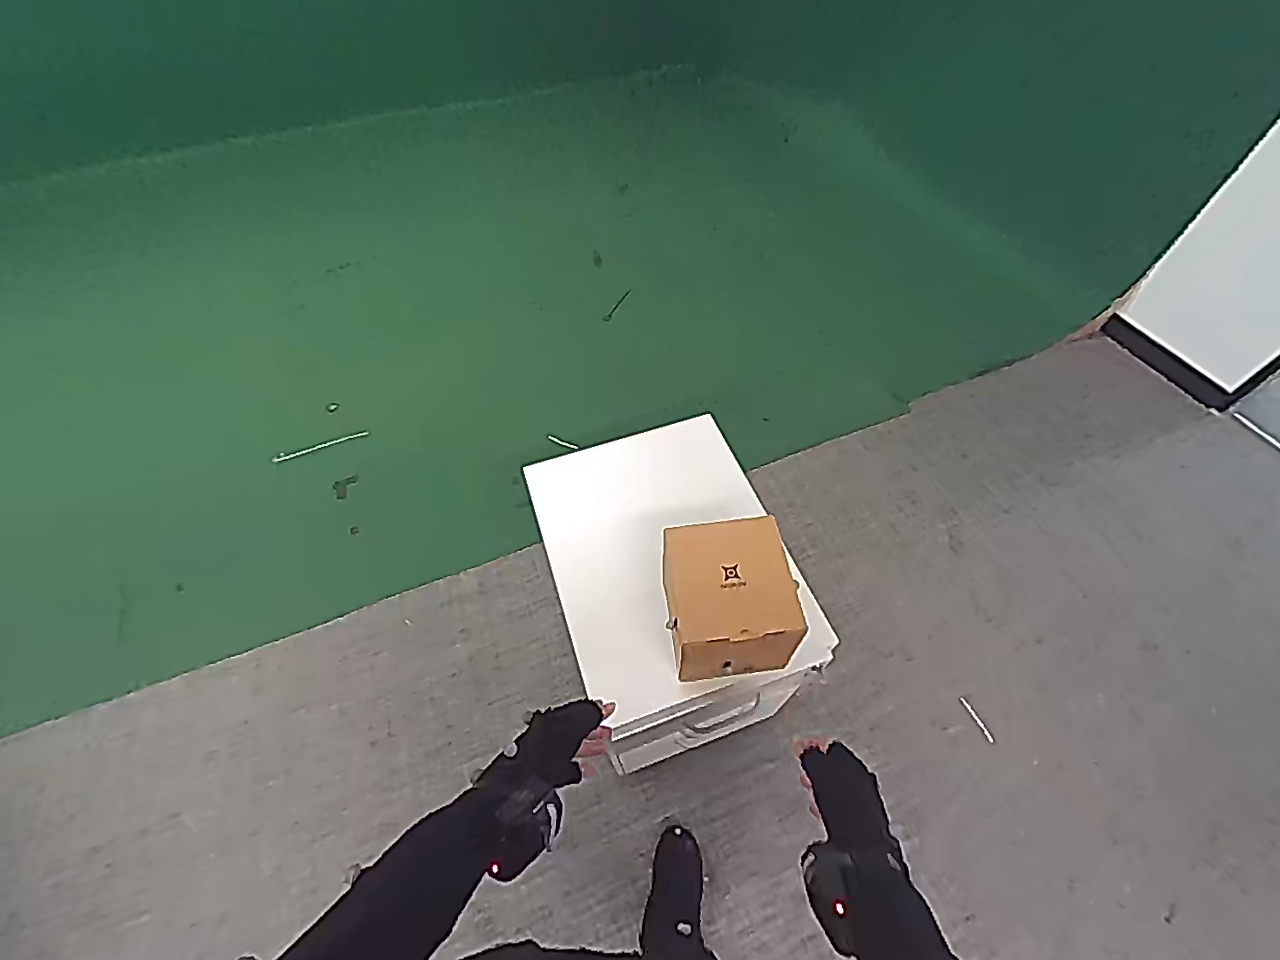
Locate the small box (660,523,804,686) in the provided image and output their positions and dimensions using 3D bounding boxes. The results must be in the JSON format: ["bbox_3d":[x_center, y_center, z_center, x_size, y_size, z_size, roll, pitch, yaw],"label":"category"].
[{"bbox_3d":[0.122,0.186,0.801,0.168,0.176,0.179,-6,55,-3],"label":"small box"}]
